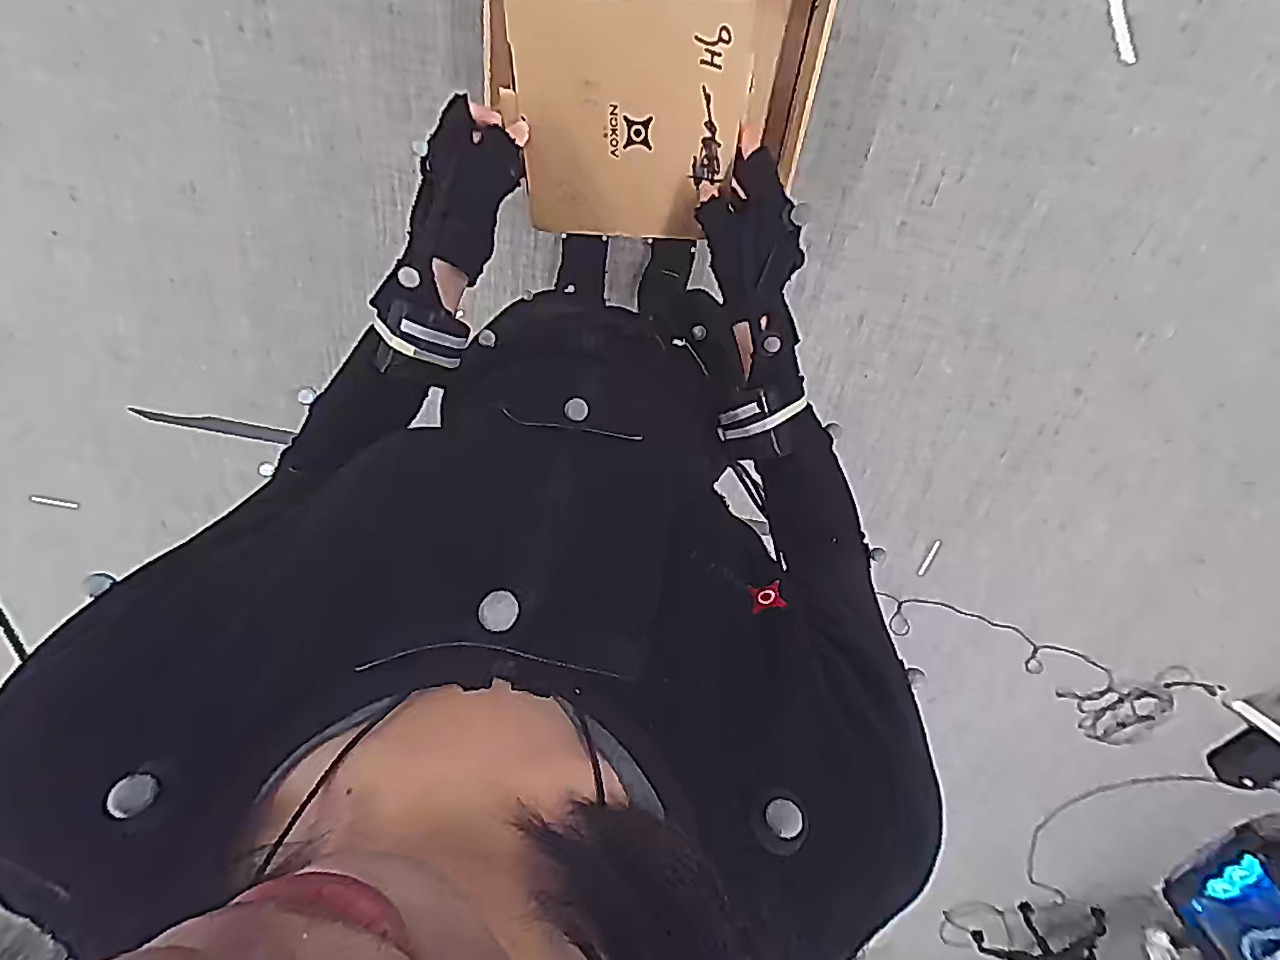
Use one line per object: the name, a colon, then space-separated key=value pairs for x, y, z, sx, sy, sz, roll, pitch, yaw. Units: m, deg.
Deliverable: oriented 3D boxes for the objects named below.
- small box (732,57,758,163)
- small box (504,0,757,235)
small box: x=0.118 y=-0.736 z=1.070 sx=0.179 sy=0.176 sz=0.168 roll=10 pitch=119 yaw=-1
small box: x=-0.001 y=-0.338 z=0.472 sx=0.179 sy=0.176 sz=0.168 roll=6 pitch=139 yaw=3
